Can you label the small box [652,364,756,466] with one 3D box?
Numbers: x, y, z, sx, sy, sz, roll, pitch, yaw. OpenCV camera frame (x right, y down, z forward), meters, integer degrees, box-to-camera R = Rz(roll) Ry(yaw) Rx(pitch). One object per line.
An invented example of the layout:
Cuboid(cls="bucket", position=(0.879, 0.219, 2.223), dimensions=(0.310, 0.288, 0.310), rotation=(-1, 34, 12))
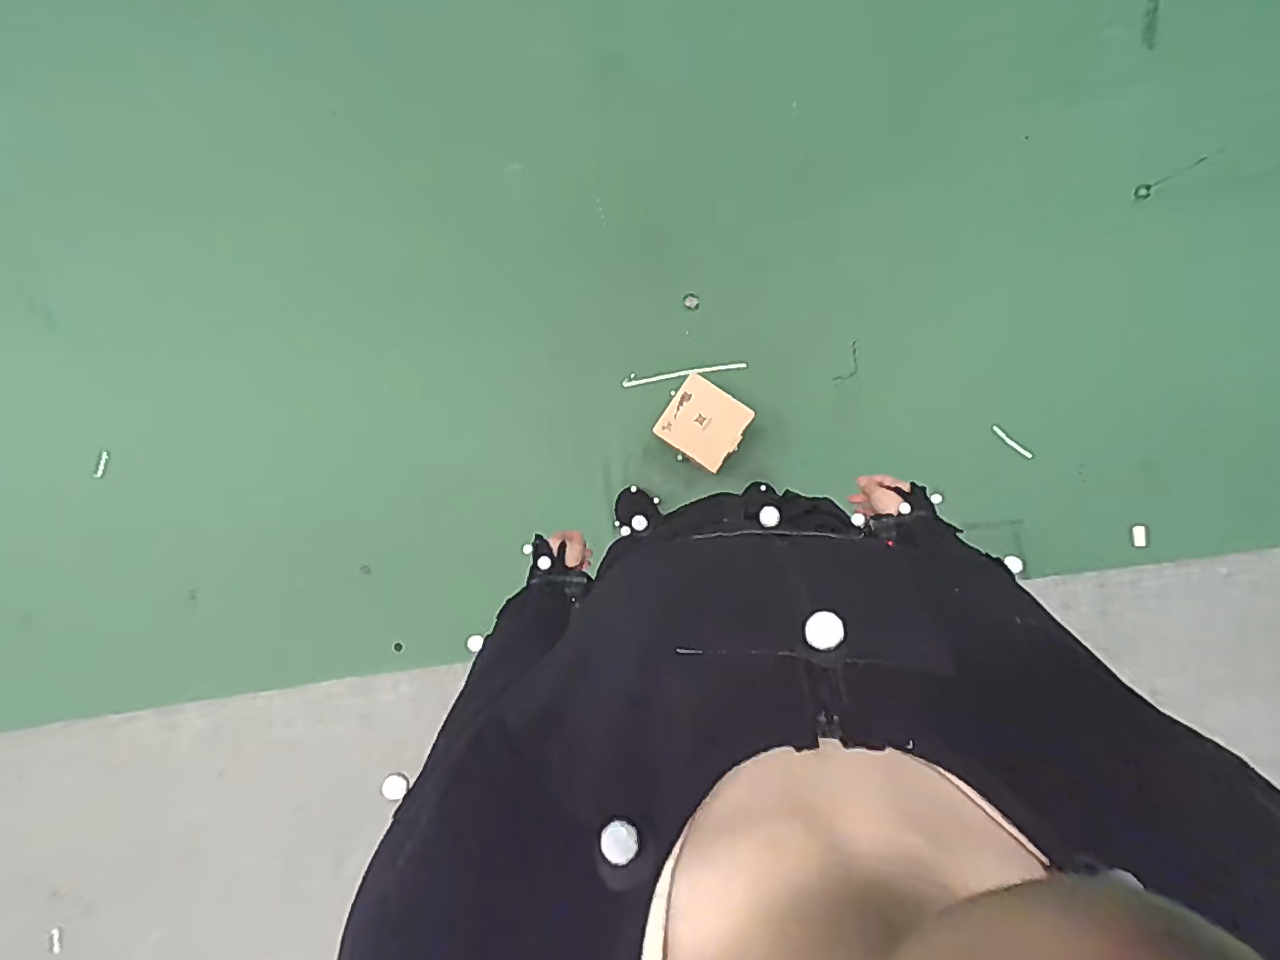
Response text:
Cuboid(cls="small box", position=(0.147, -0.150, 1.283), dimensions=(0.179, 0.176, 0.168), rotation=(35, 93, 2))
